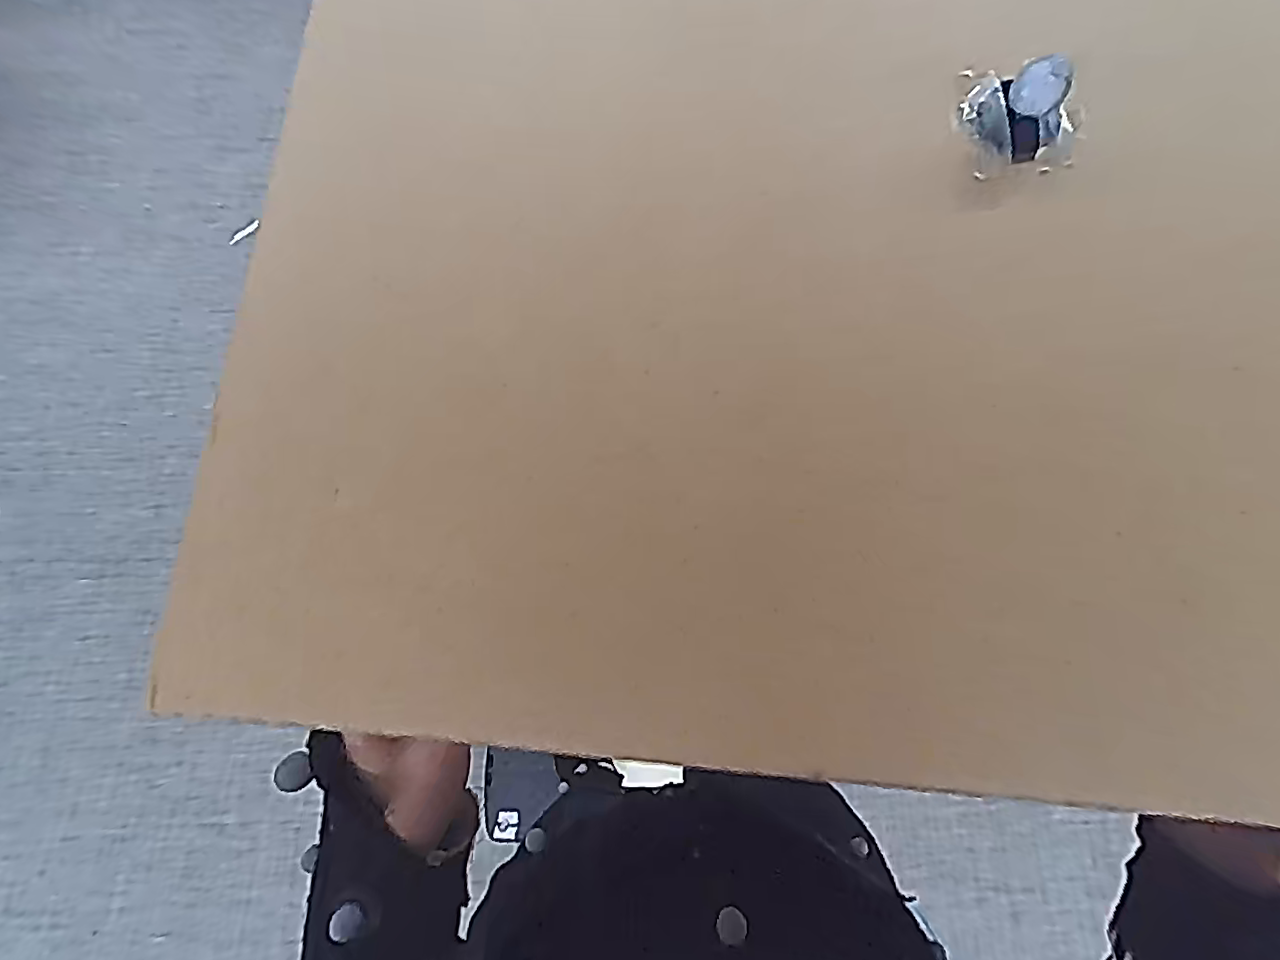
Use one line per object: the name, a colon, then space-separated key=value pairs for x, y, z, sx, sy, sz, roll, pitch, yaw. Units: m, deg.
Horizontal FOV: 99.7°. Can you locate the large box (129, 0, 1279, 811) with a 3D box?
large box: x=0.087 y=-0.056 z=0.286 sx=0.408 sy=0.320 sz=0.320 roll=3 pitch=80 yaw=4

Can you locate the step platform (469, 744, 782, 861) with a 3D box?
step platform: x=-0.029 y=0.653 z=1.231 sx=0.684 sy=0.204 sz=0.286 roll=4 pitch=73 yaw=3
